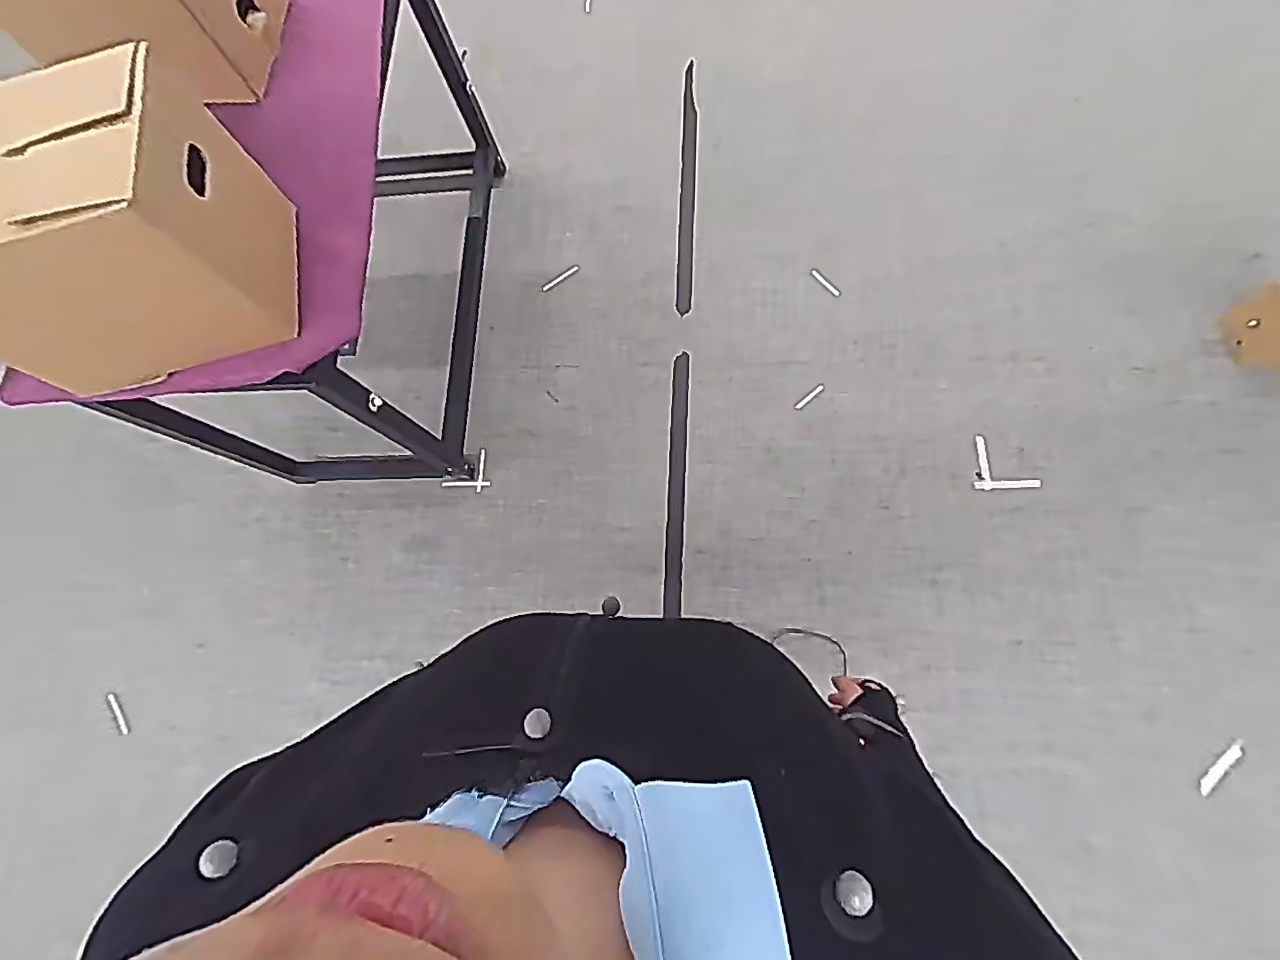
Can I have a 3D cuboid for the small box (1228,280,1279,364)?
[{"bbox_3d":[1.754,-0.424,1.454,0.179,0.176,0.168,-1,75,5],"label":"small box"}]
